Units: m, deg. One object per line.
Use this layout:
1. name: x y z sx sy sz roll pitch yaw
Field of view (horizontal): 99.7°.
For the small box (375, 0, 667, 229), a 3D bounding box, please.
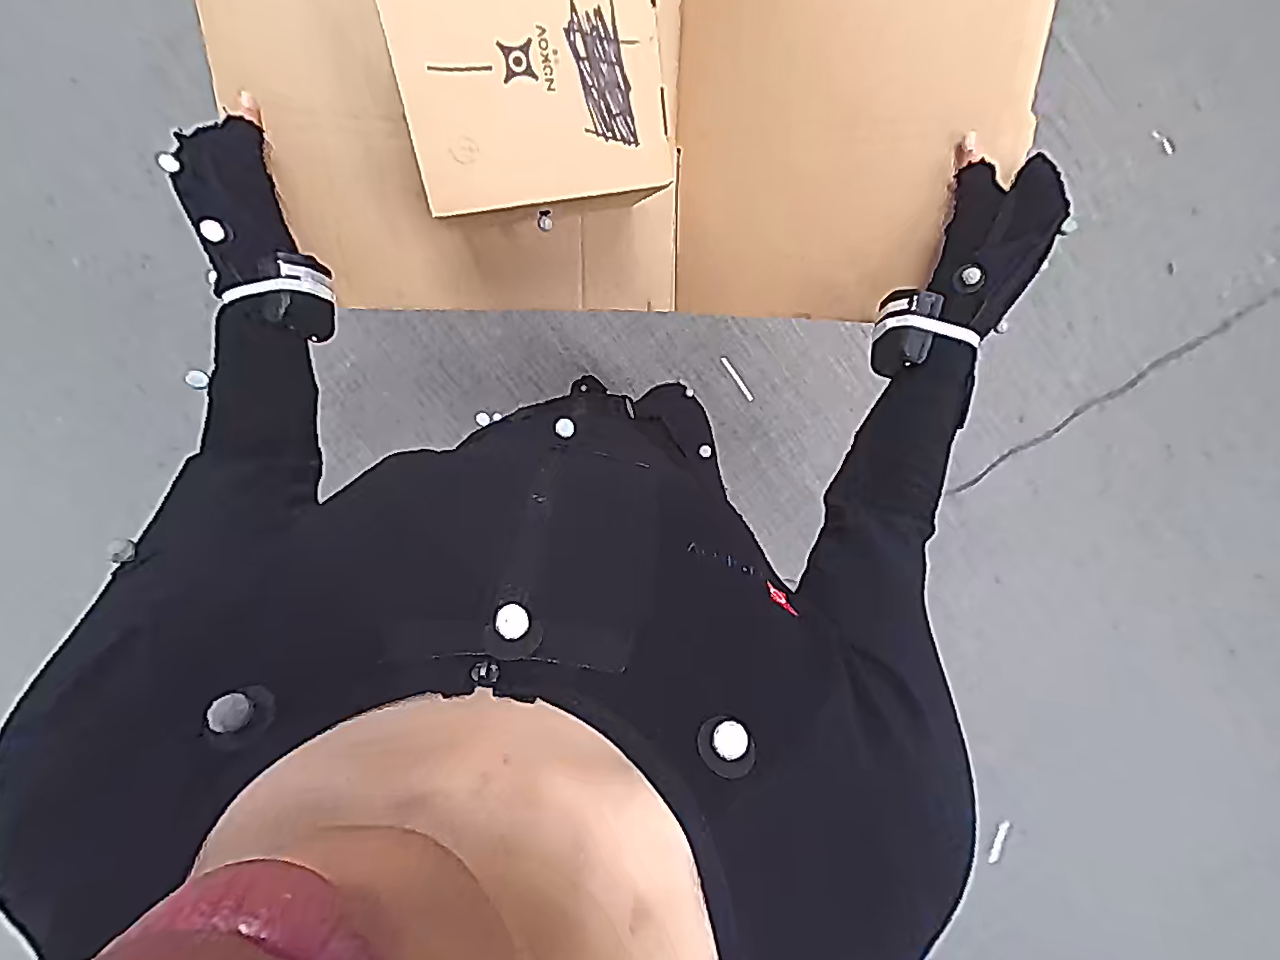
1. small box: -0.090 -0.306 0.436 0.179 0.176 0.168 -12 113 -6
